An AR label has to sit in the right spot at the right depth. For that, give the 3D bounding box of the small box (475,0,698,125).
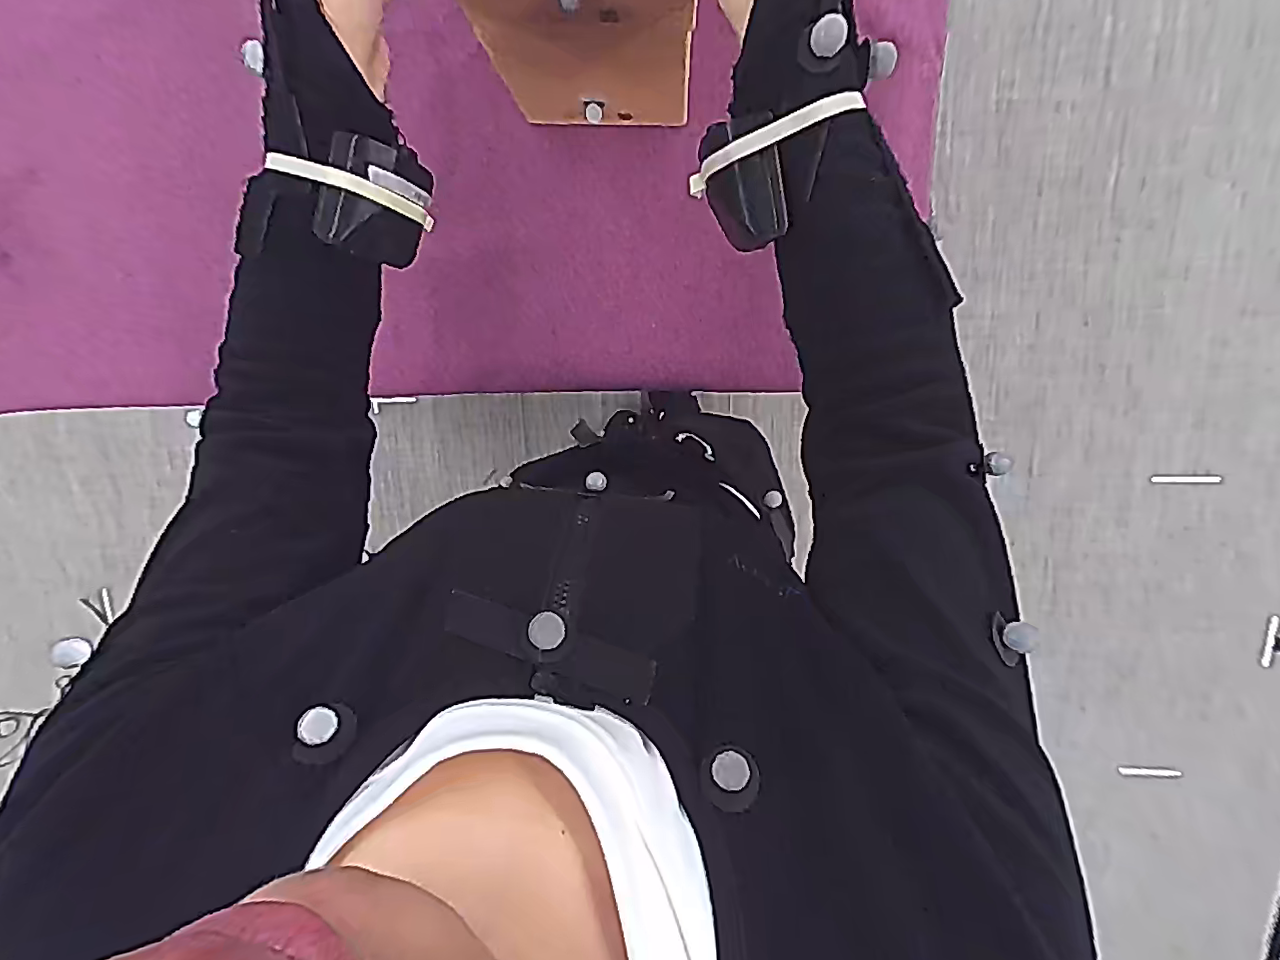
[{"bbox_3d":[-0.033,-0.440,0.463,0.168,0.176,0.179,3,102,3],"label":"small box"}]

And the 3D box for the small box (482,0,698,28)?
[{"bbox_3d":[-0.041,-0.404,0.301,0.168,0.176,0.179,3,102,4],"label":"small box"}]
